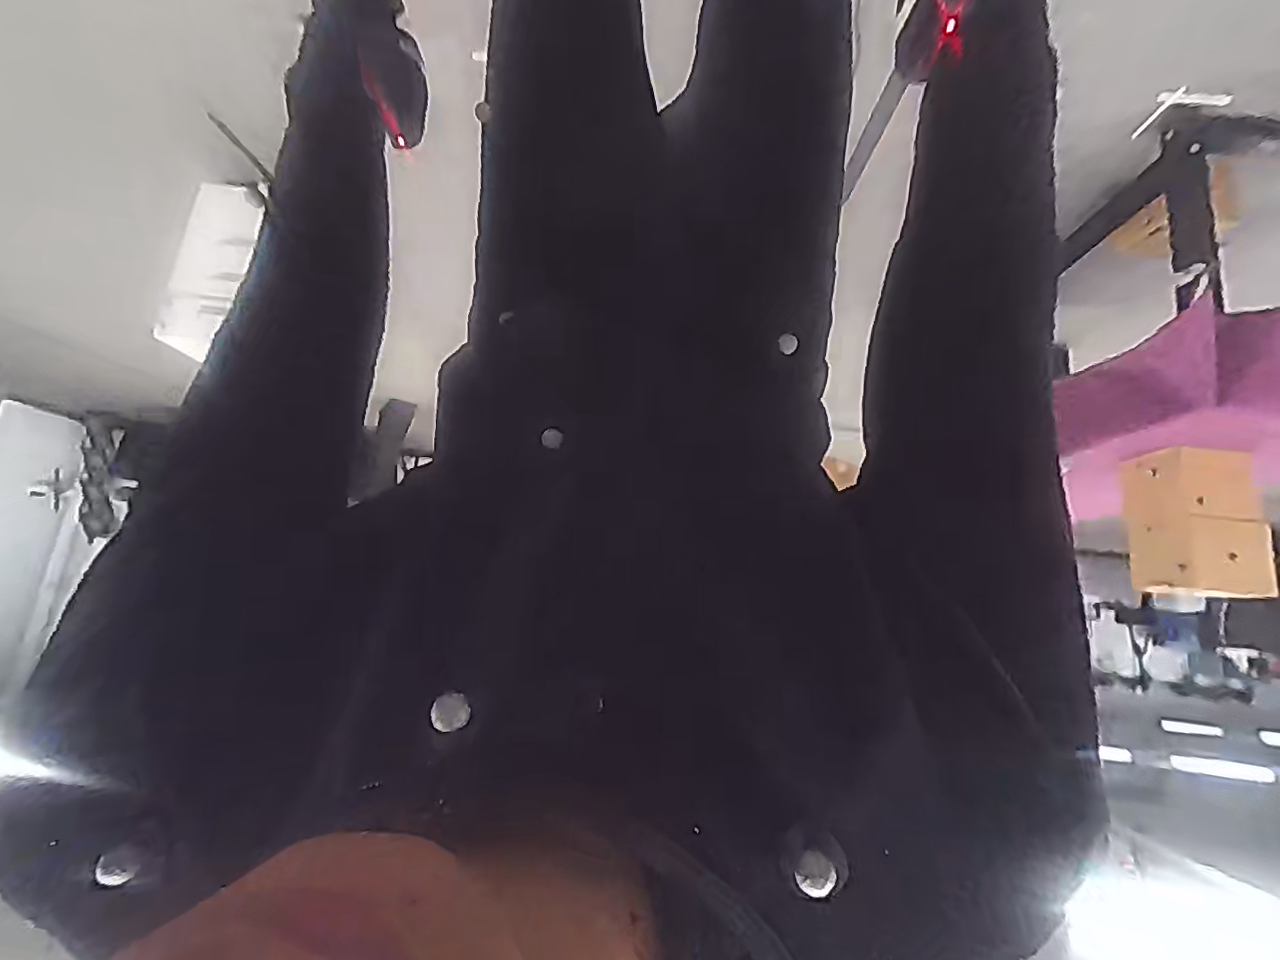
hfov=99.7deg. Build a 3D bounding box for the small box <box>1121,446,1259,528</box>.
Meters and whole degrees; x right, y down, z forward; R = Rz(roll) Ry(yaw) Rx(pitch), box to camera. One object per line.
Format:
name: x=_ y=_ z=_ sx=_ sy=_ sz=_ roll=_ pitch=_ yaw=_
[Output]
small box: x=1.339 y=0.019 z=1.327 sx=0.179 sy=0.176 sz=0.168 roll=6 pitch=169 yaw=3
